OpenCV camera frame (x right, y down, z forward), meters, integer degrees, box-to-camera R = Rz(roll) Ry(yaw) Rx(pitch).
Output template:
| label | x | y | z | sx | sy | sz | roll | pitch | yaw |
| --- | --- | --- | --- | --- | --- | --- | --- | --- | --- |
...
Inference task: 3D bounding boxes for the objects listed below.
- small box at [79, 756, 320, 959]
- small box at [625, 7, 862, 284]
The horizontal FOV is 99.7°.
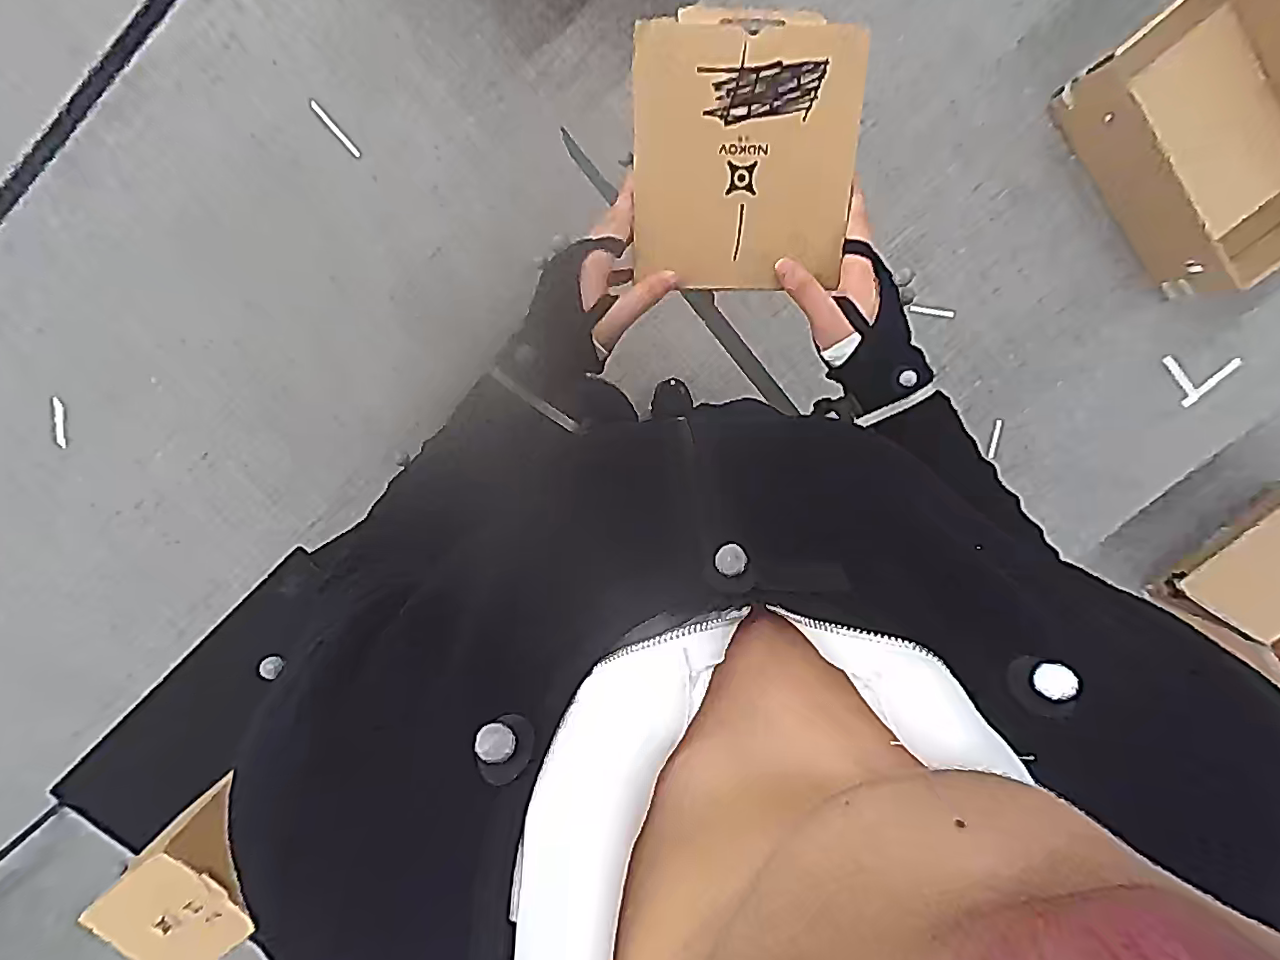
| label | x | y | z | sx | sy | sz | roll | pitch | yaw |
| --- | --- | --- | --- | --- | --- | --- | --- | --- | --- |
| small box | -0.618 | 0.553 | 0.785 | 0.179 | 0.176 | 0.168 | -40 | 100 | 8 |
| small box | 0.070 | -0.267 | 0.474 | 0.168 | 0.176 | 0.179 | 0 | 110 | -1 |
